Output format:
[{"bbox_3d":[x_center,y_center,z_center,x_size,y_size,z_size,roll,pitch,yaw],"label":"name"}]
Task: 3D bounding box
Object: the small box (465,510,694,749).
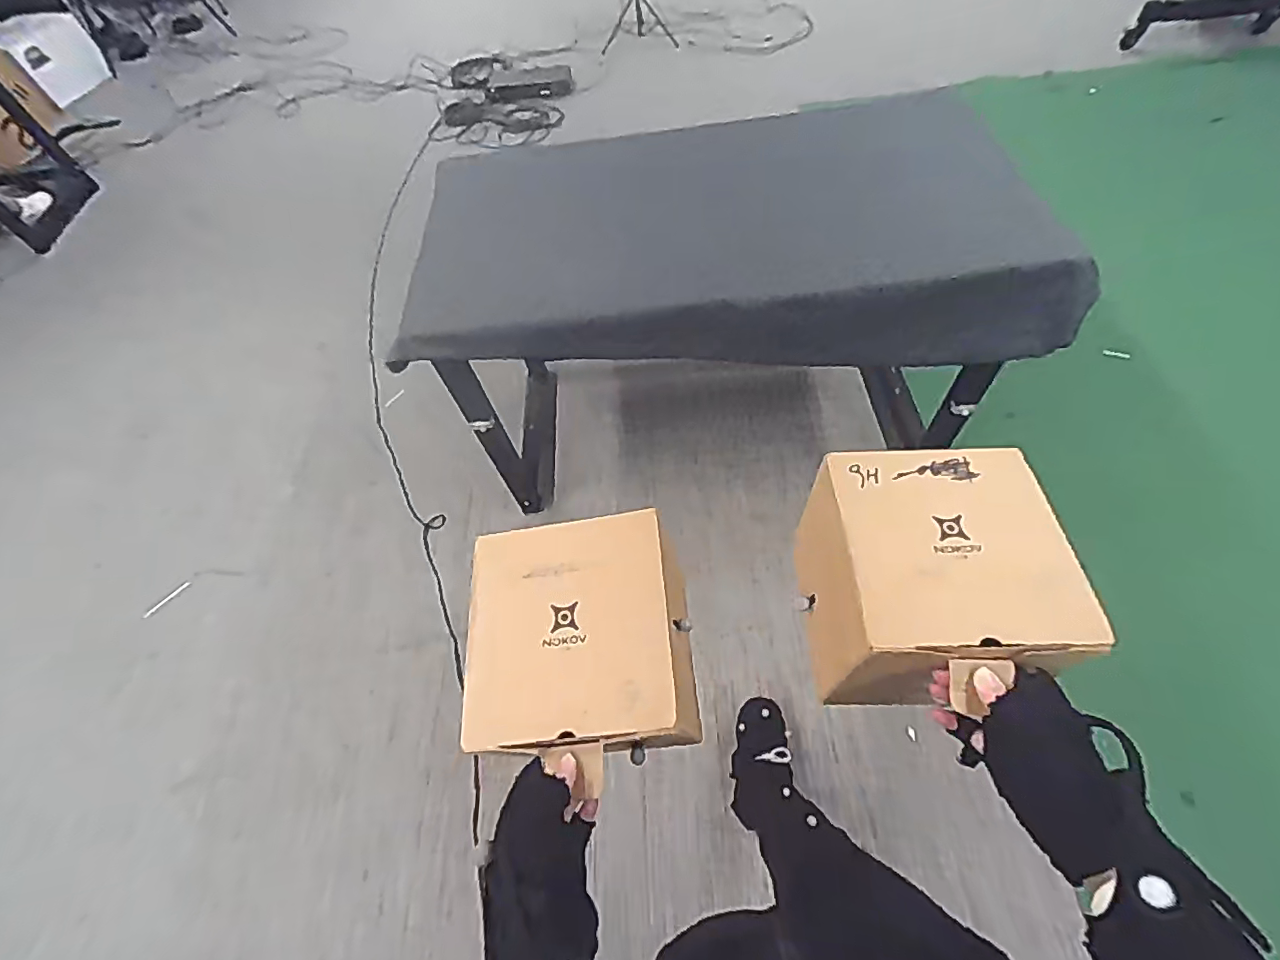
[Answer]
[{"bbox_3d":[-0.047,0.151,0.511,0.168,0.176,0.179,-10,60,7],"label":"small box"}]
